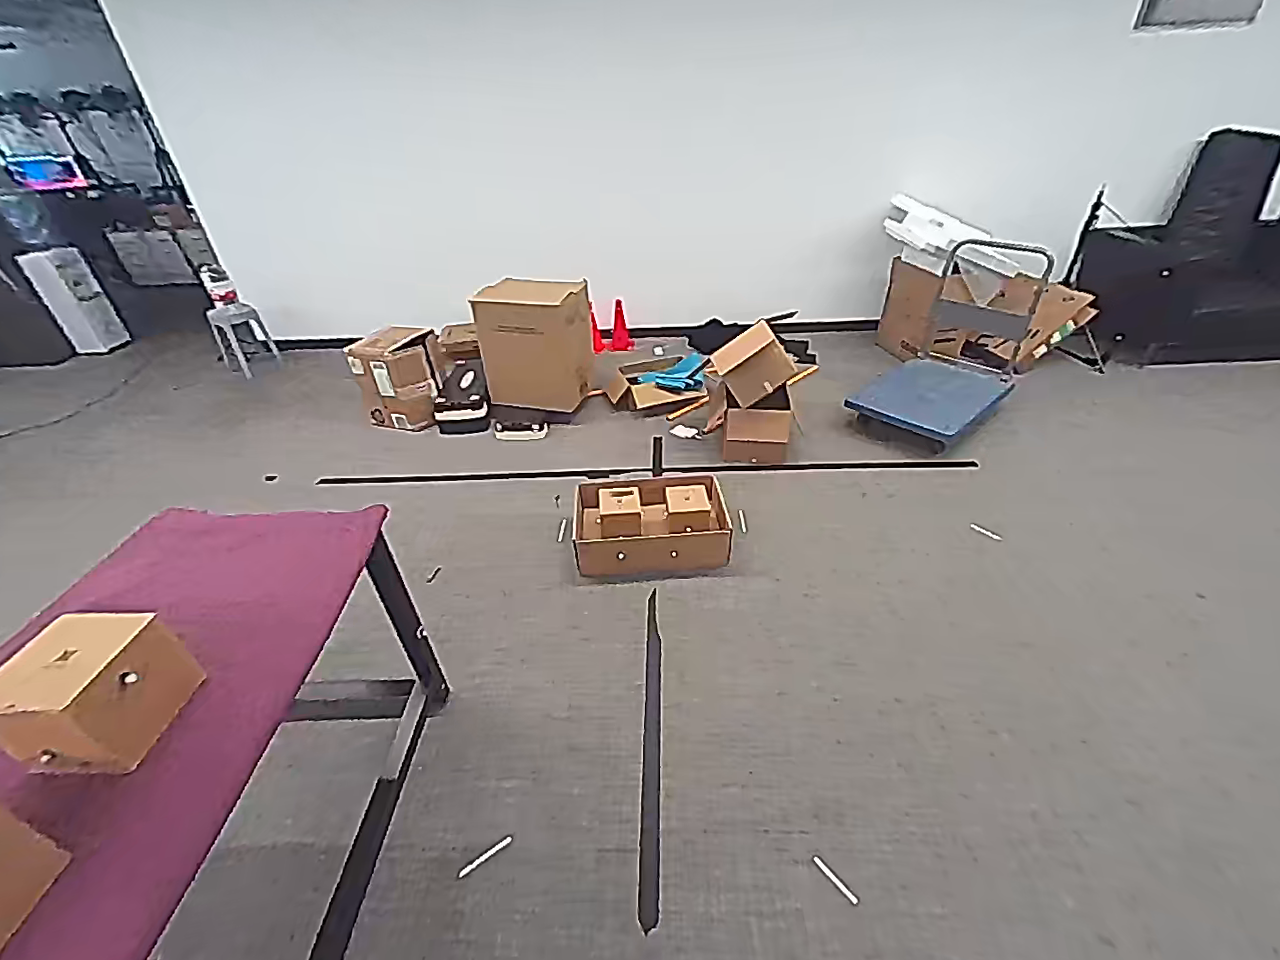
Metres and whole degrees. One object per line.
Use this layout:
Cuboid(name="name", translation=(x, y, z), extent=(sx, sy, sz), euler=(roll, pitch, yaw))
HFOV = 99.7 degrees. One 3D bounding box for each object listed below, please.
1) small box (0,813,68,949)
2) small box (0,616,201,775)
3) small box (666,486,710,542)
Cuboid(name="small box", translation=(-0.854, 0.500, 0.627), extent=(0.168, 0.176, 0.179), euler=(-1, 34, 2))
Cuboid(name="small box", translation=(-0.858, 0.339, 0.863), extent=(0.168, 0.176, 0.179), euler=(-1, 35, 3))
Cuboid(name="small box", translation=(0.199, 0.145, 2.247), extent=(0.168, 0.176, 0.179), euler=(-3, 34, -1))
